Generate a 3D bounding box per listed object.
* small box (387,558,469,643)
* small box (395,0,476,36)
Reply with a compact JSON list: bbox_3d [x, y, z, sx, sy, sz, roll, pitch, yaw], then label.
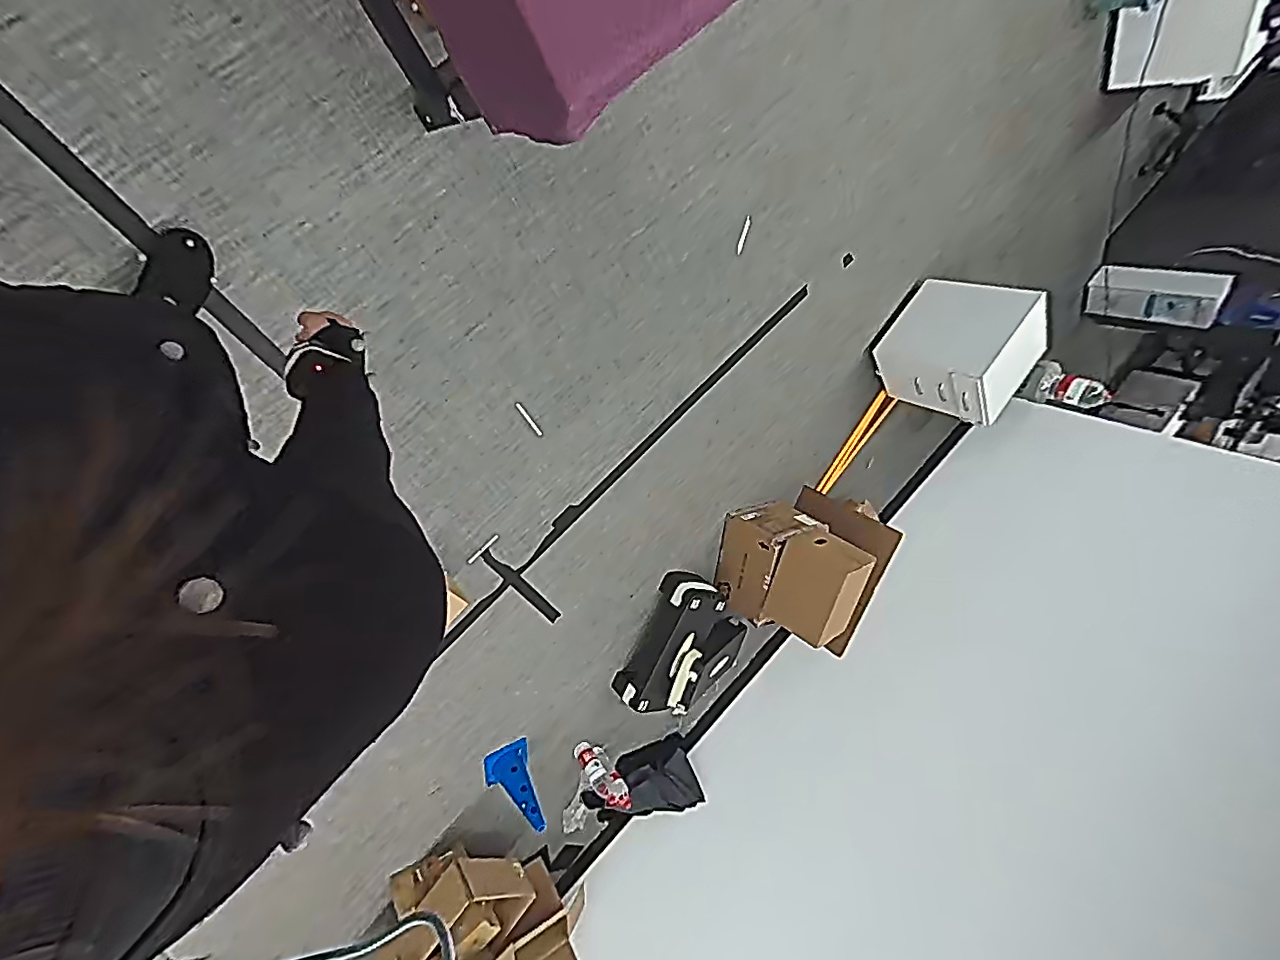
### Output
[{"bbox_3d":[-0.699,0.390,1.764,0.179,0.176,0.168,-46,133,-10],"label":"small box"},{"bbox_3d":[-0.443,-1.115,1.163,0.168,0.176,0.179,17,101,-42],"label":"small box"}]
